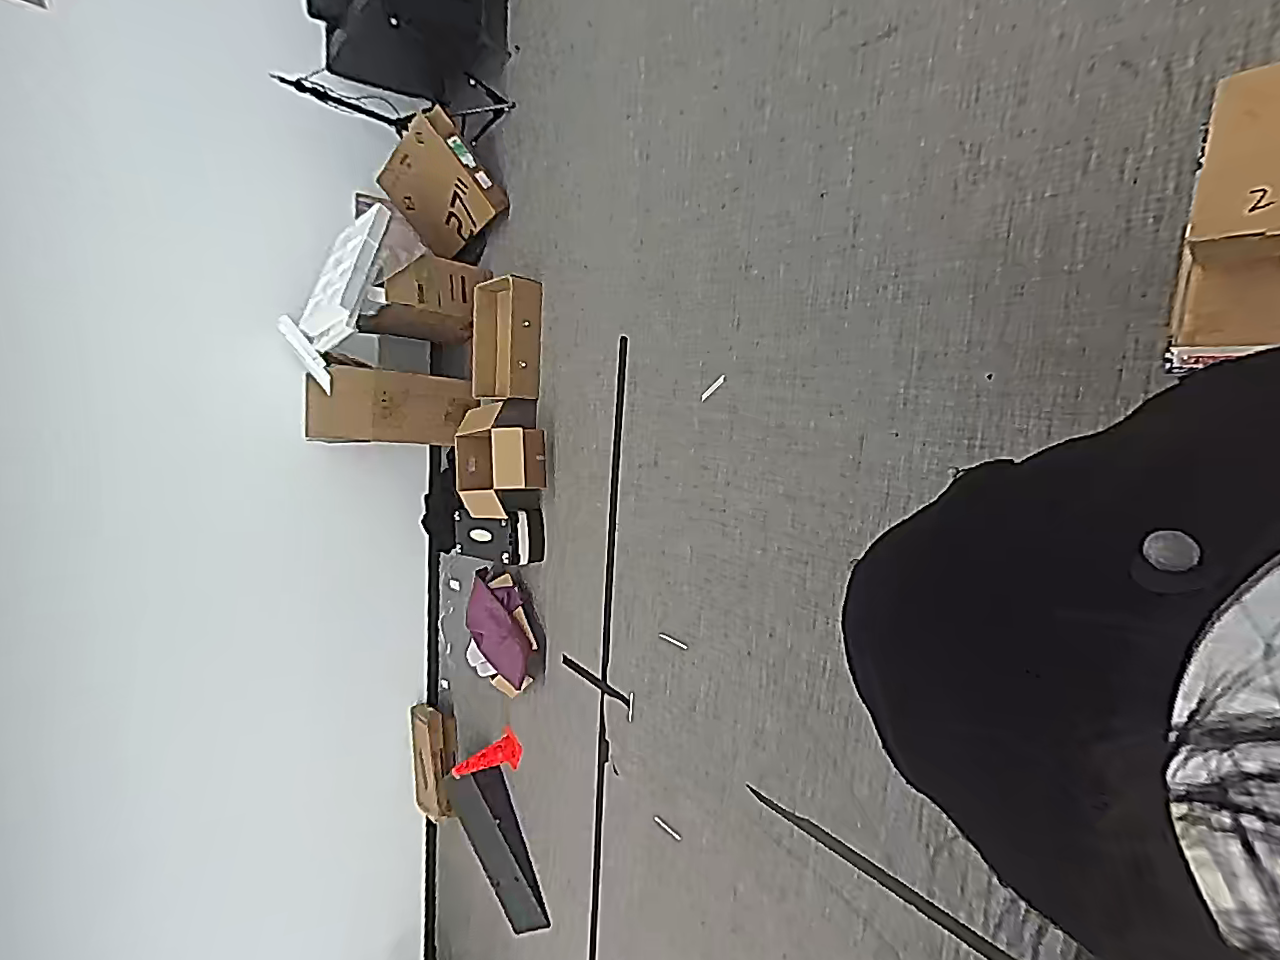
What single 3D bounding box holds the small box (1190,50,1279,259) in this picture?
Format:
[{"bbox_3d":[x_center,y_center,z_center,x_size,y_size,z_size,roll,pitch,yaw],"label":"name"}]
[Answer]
[{"bbox_3d":[0.747,-0.362,0.598,0.168,0.176,0.179,13,105,48],"label":"small box"}]
